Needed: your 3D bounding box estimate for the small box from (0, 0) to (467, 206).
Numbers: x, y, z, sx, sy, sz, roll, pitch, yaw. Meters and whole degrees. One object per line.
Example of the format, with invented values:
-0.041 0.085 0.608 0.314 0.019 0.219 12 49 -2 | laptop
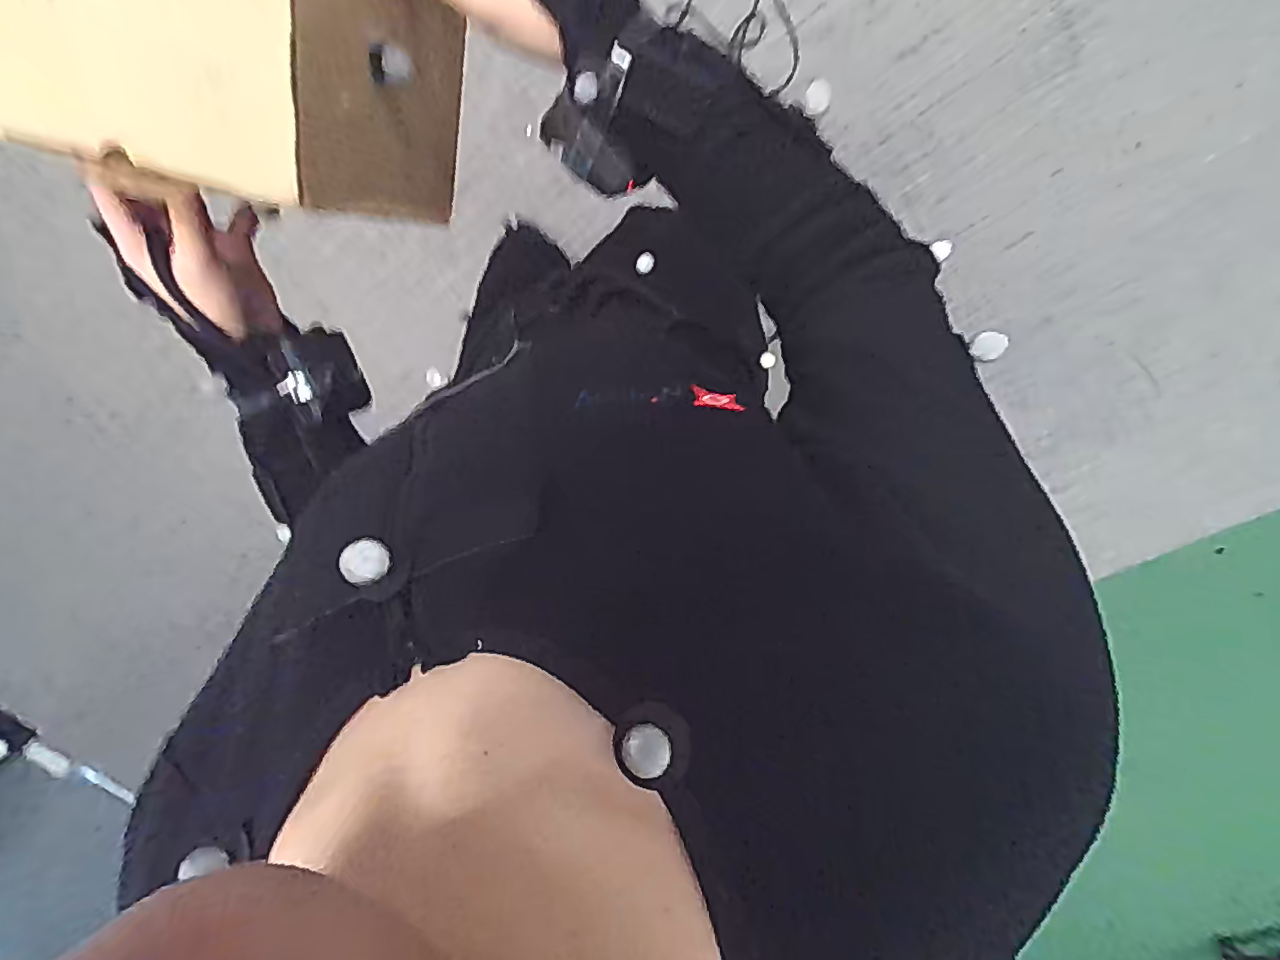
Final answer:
-0.201 -0.254 0.278 0.168 0.176 0.179 14 115 -1 | small box
